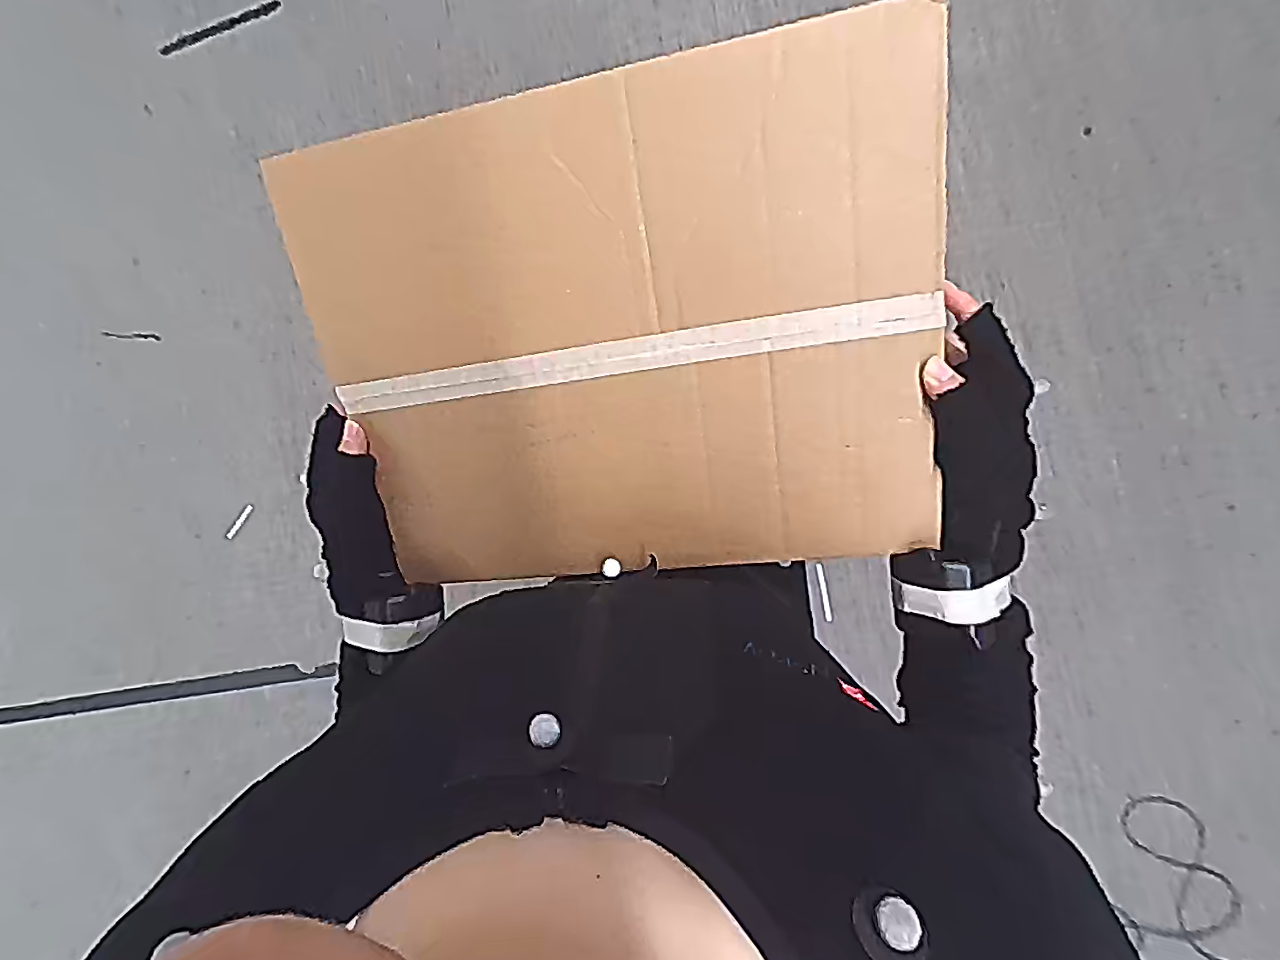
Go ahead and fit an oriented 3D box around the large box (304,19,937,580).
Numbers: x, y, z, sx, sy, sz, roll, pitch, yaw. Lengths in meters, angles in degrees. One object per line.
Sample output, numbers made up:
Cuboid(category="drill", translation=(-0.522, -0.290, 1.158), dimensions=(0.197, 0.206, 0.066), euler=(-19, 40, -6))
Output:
Cuboid(category="large box", translation=(0.009, -0.129, 0.509), dimensions=(0.408, 0.320, 0.320), euler=(-6, 110, 11))
